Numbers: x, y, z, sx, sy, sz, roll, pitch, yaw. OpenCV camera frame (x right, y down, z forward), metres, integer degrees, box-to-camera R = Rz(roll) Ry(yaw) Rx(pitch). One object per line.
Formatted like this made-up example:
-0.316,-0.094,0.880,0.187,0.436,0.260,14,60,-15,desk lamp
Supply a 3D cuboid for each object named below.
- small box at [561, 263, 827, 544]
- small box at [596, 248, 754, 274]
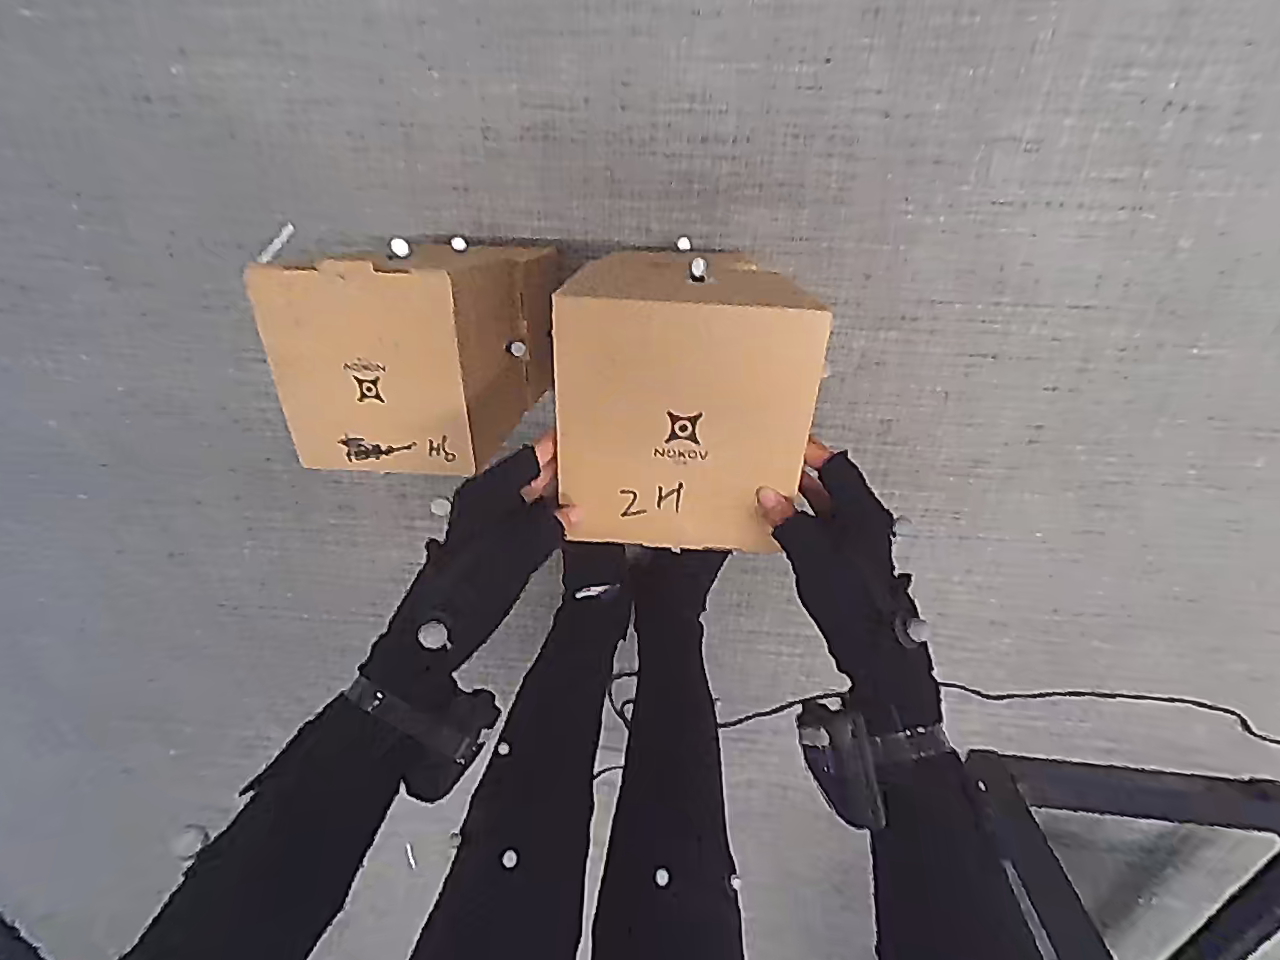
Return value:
0.030,-0.071,0.433,0.168,0.176,0.179,4,119,1,small box
0.040,-0.181,0.658,0.168,0.176,0.179,2,116,3,small box
